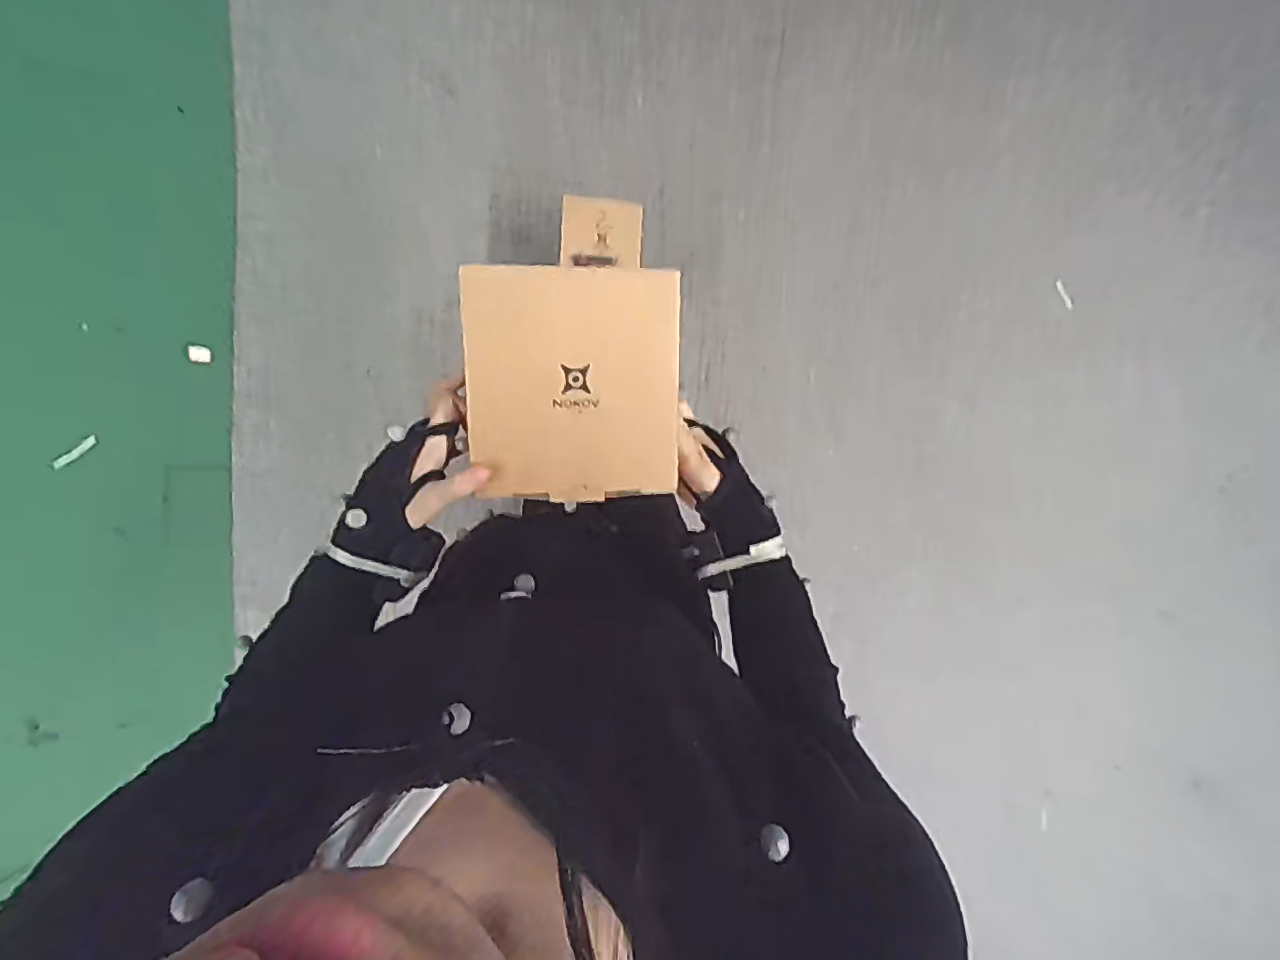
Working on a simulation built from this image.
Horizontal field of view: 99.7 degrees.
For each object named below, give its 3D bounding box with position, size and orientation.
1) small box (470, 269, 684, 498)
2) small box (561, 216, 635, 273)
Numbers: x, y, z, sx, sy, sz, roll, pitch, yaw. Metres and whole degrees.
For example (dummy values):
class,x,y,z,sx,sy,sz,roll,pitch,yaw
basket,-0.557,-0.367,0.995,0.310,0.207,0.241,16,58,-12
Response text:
class,x,y,z,sx,sy,sz,roll,pitch,yaw
small box,-0.059,-0.089,0.503,0.168,0.176,0.179,-2,103,-8
small box,-0.111,-0.527,1.340,0.168,0.176,0.179,4,98,-8
